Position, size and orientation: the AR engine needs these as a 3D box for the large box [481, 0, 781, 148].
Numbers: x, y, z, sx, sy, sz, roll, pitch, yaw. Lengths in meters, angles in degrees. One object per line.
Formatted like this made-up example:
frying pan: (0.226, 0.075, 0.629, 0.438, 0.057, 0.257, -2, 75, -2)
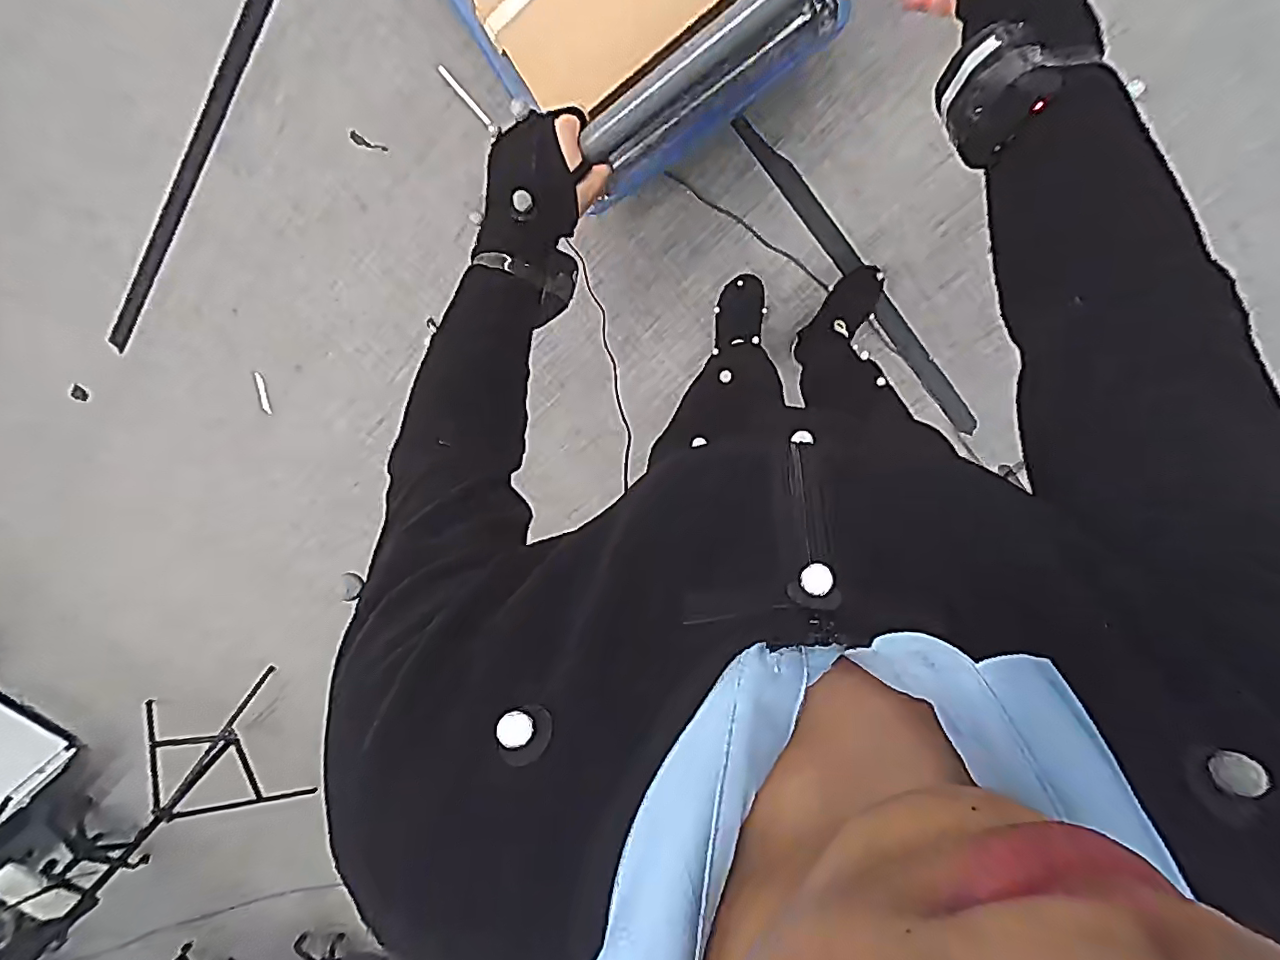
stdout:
large box: (-0.015, -0.785, 0.814, 0.408, 0.320, 0.320, -28, 111, 21)
